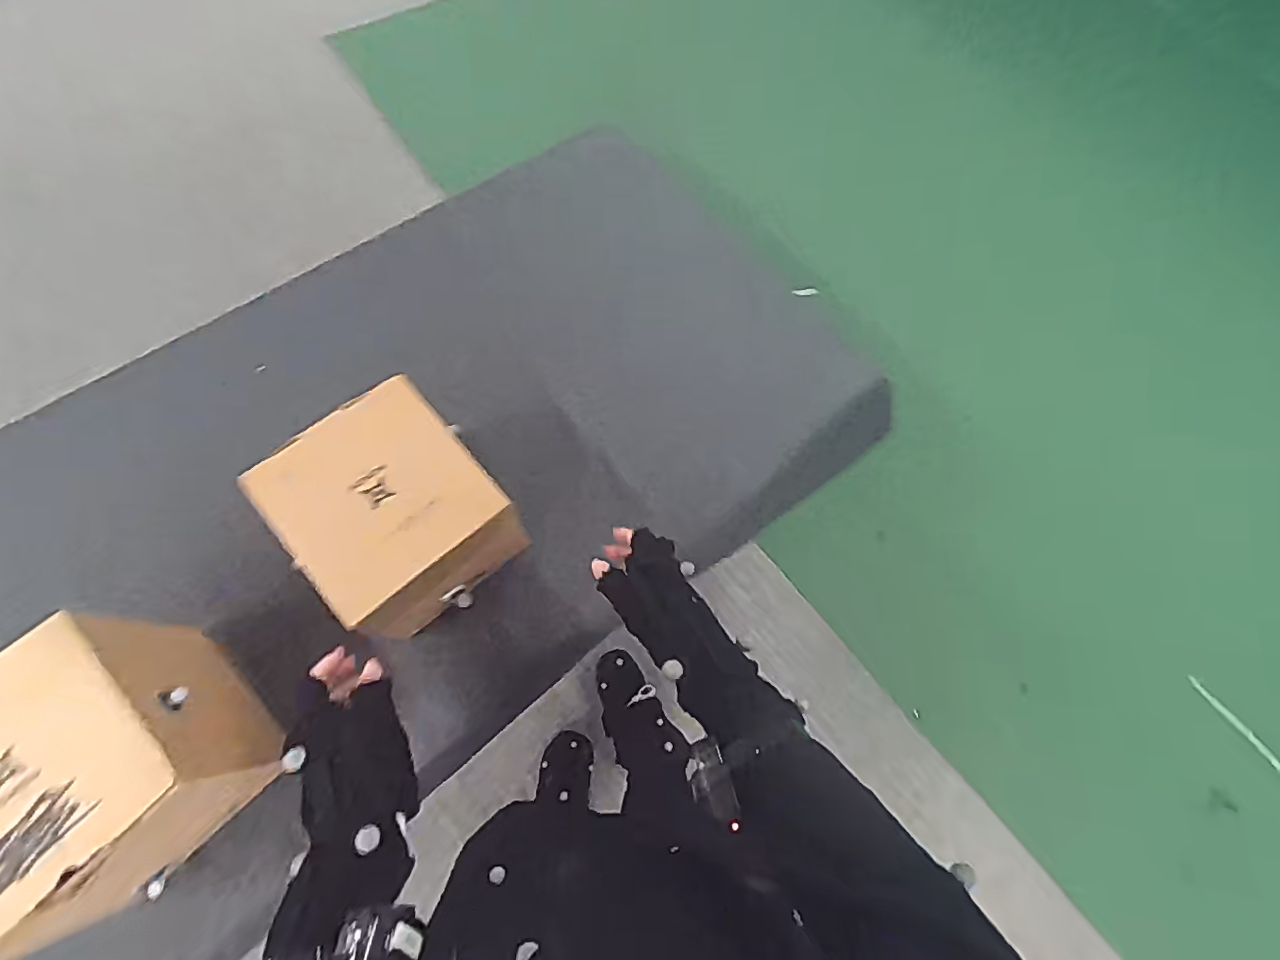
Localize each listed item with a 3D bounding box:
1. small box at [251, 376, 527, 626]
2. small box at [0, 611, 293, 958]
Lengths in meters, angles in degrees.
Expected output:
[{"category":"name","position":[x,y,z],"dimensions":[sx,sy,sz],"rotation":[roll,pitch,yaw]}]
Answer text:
[{"category":"small box","position":[-0.239,0.034,0.562],"dimensions":[0.168,0.176,0.179],"rotation":[-41,80,-16]},{"category":"small box","position":[-0.450,0.239,0.463],"dimensions":[0.179,0.176,0.168],"rotation":[43,72,12]}]
